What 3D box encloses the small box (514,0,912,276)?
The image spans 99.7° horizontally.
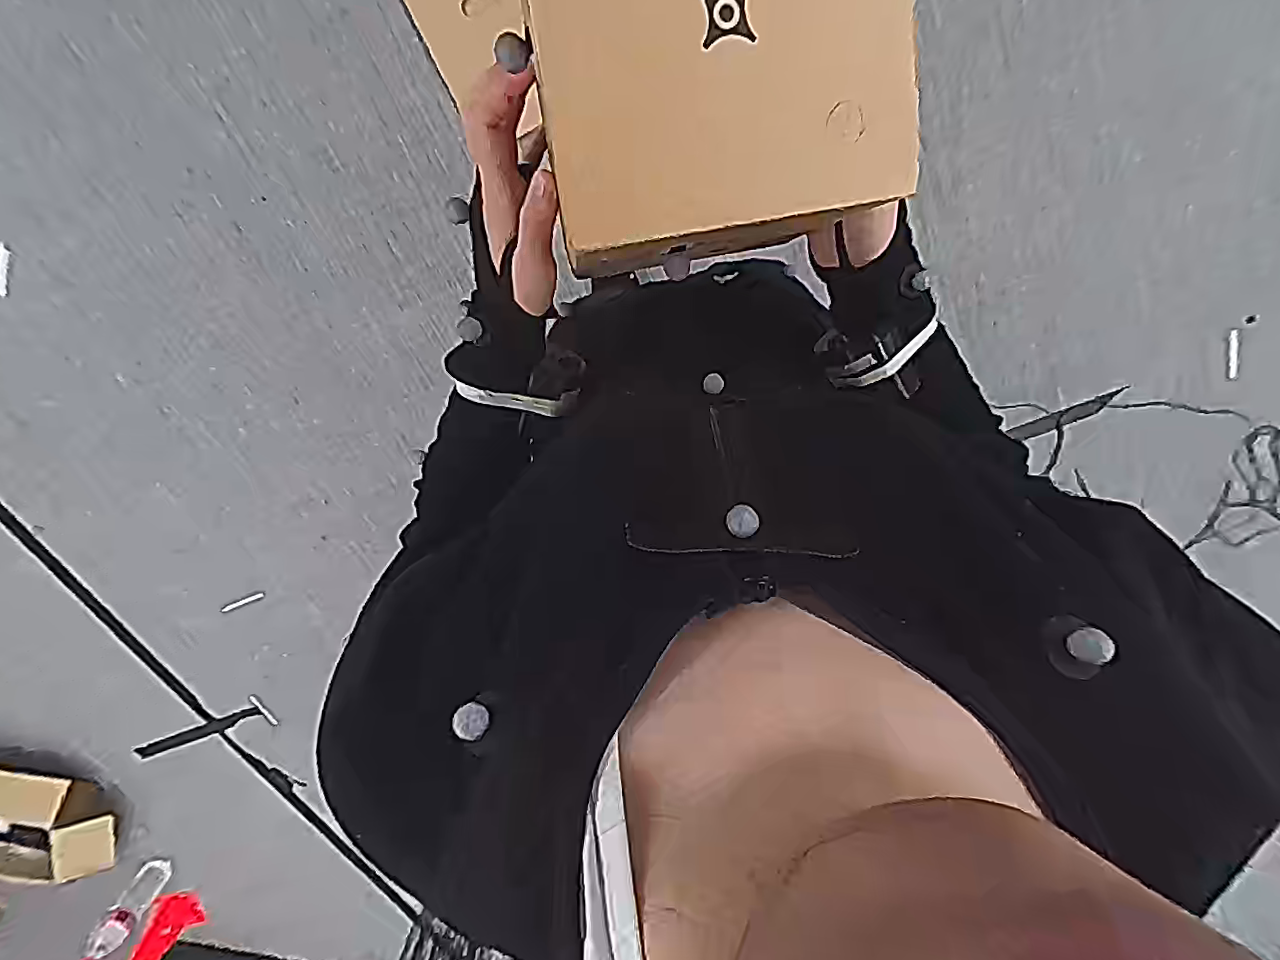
[{"bbox_3d":[0.025,-0.218,0.300,0.168,0.176,0.179,-11,106,-3],"label":"small box"}]
